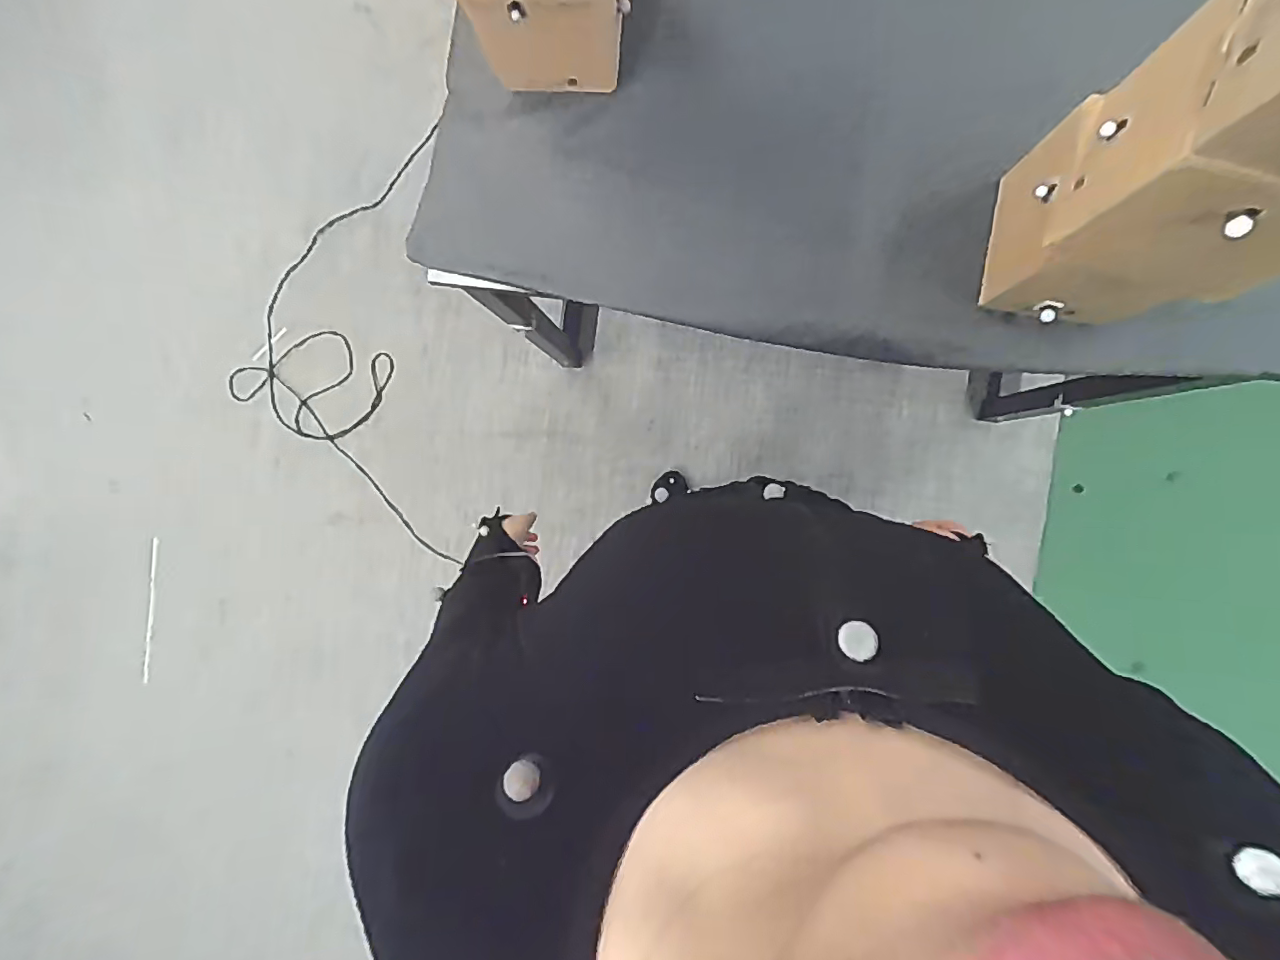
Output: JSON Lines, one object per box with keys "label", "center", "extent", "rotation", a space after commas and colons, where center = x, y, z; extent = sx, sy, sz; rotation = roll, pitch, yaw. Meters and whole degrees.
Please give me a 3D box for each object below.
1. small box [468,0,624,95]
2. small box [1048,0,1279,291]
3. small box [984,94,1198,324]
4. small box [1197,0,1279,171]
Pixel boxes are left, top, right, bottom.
{"label": "small box", "center": [-0.114, -0.639, 0.691], "extent": [0.168, 0.176, 0.179], "rotation": [5, 92, 6]}
{"label": "small box", "center": [0.515, -0.284, 0.466], "extent": [0.179, 0.176, 0.168], "rotation": [20, 92, 7]}
{"label": "small box", "center": [0.535, -0.299, 0.627], "extent": [0.168, 0.176, 0.179], "rotation": [10, 92, 7]}
{"label": "small box", "center": [0.500, -0.286, 0.302], "extent": [0.179, 0.176, 0.168], "rotation": [22, 92, 7]}
